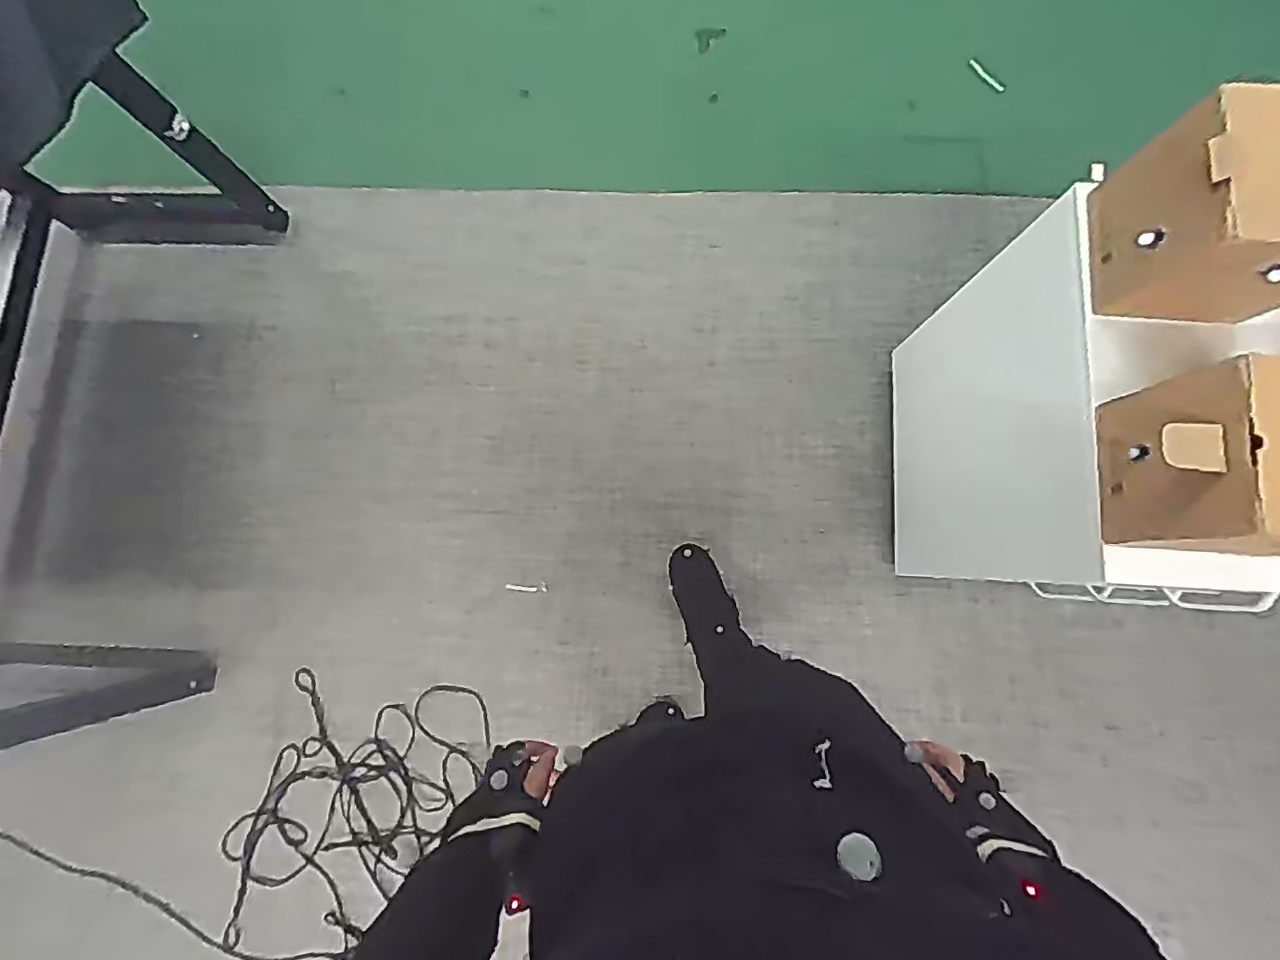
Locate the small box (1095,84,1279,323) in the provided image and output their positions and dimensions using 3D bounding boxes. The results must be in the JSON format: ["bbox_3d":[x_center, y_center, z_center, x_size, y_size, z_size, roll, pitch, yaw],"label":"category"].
[{"bbox_3d":[0.641,-0.284,0.588,0.179,0.176,0.168,4,82,1],"label":"small box"}]

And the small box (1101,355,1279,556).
[{"bbox_3d":[0.620,-0.013,0.543,0.179,0.176,0.168,4,81,3],"label":"small box"}]
